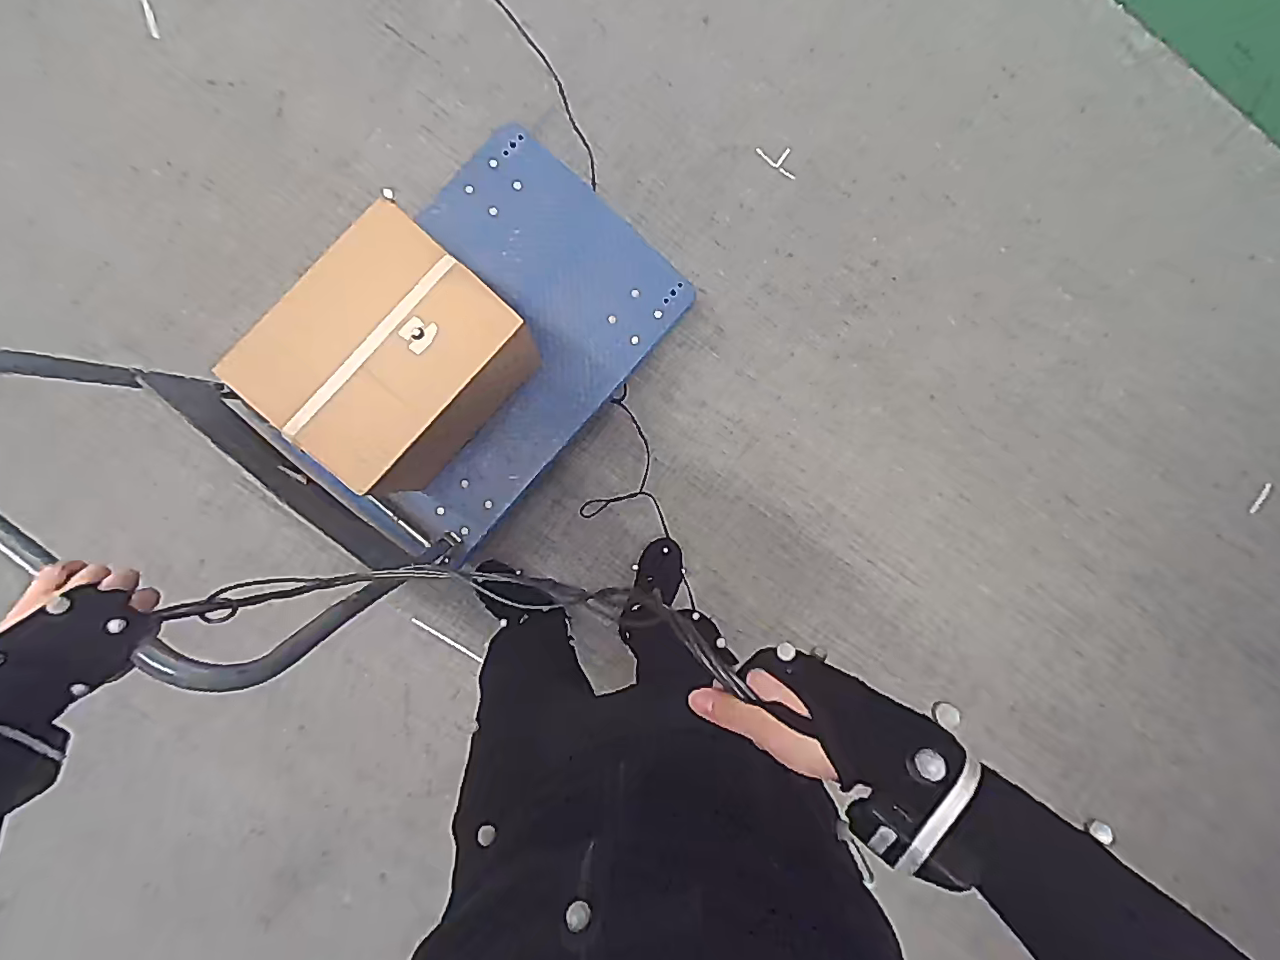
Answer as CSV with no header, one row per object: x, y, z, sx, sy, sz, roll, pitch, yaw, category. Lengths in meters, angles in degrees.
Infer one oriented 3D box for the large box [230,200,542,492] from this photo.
-0.446,-0.221,1.051,0.320,0.320,0.408,42,86,-4,large box
